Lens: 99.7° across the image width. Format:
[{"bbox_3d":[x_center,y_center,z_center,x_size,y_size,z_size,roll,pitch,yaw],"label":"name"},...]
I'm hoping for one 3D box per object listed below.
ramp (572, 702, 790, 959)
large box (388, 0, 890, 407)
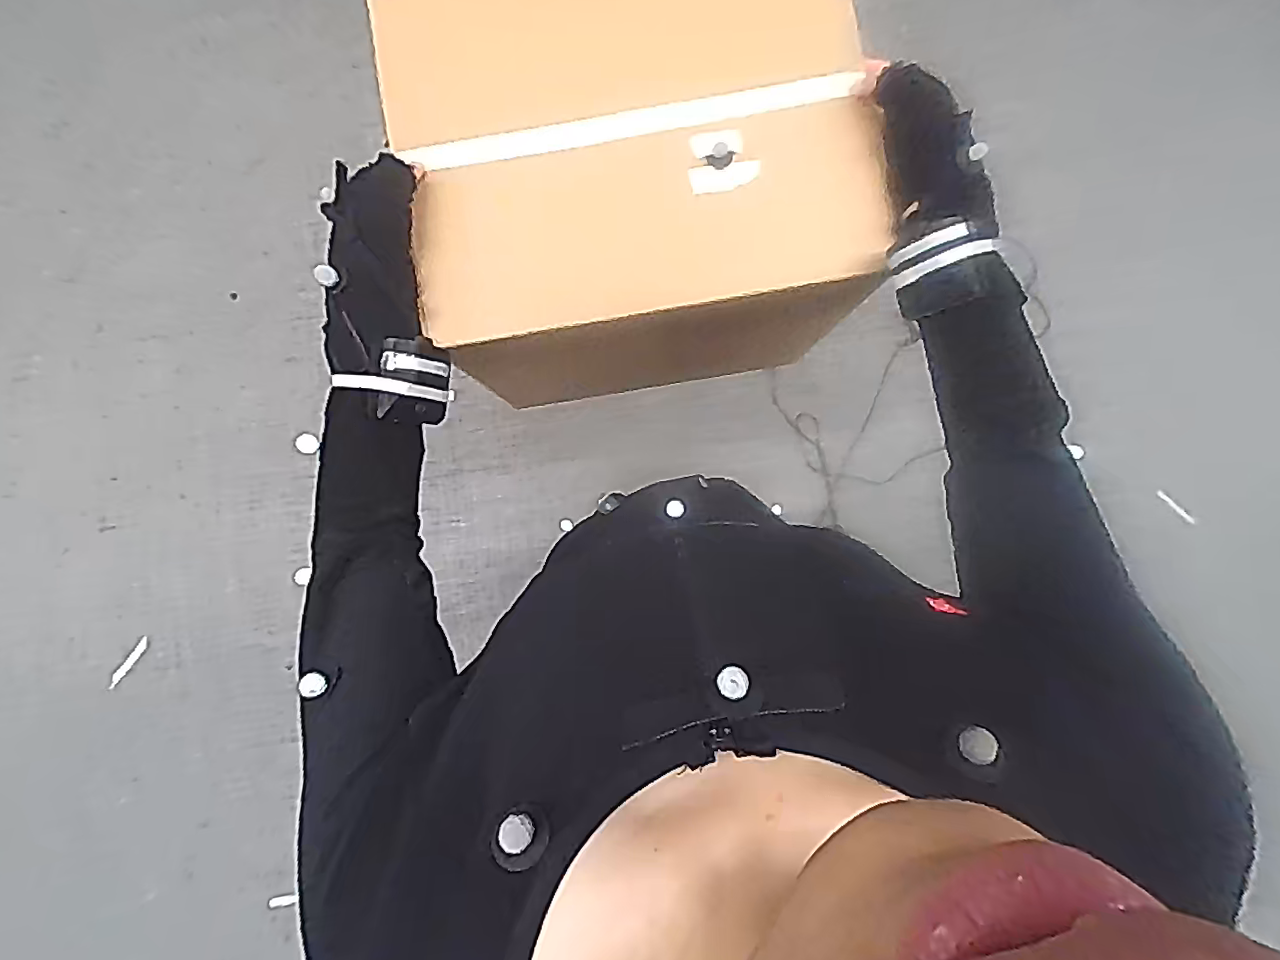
[{"bbox_3d":[0.119,1.125,1.382,0.509,0.206,0.991,-10,88,1],"label":"ramp"},{"bbox_3d":[-0.005,-0.294,0.622,0.408,0.320,0.320,-10,88,0],"label":"large box"}]
